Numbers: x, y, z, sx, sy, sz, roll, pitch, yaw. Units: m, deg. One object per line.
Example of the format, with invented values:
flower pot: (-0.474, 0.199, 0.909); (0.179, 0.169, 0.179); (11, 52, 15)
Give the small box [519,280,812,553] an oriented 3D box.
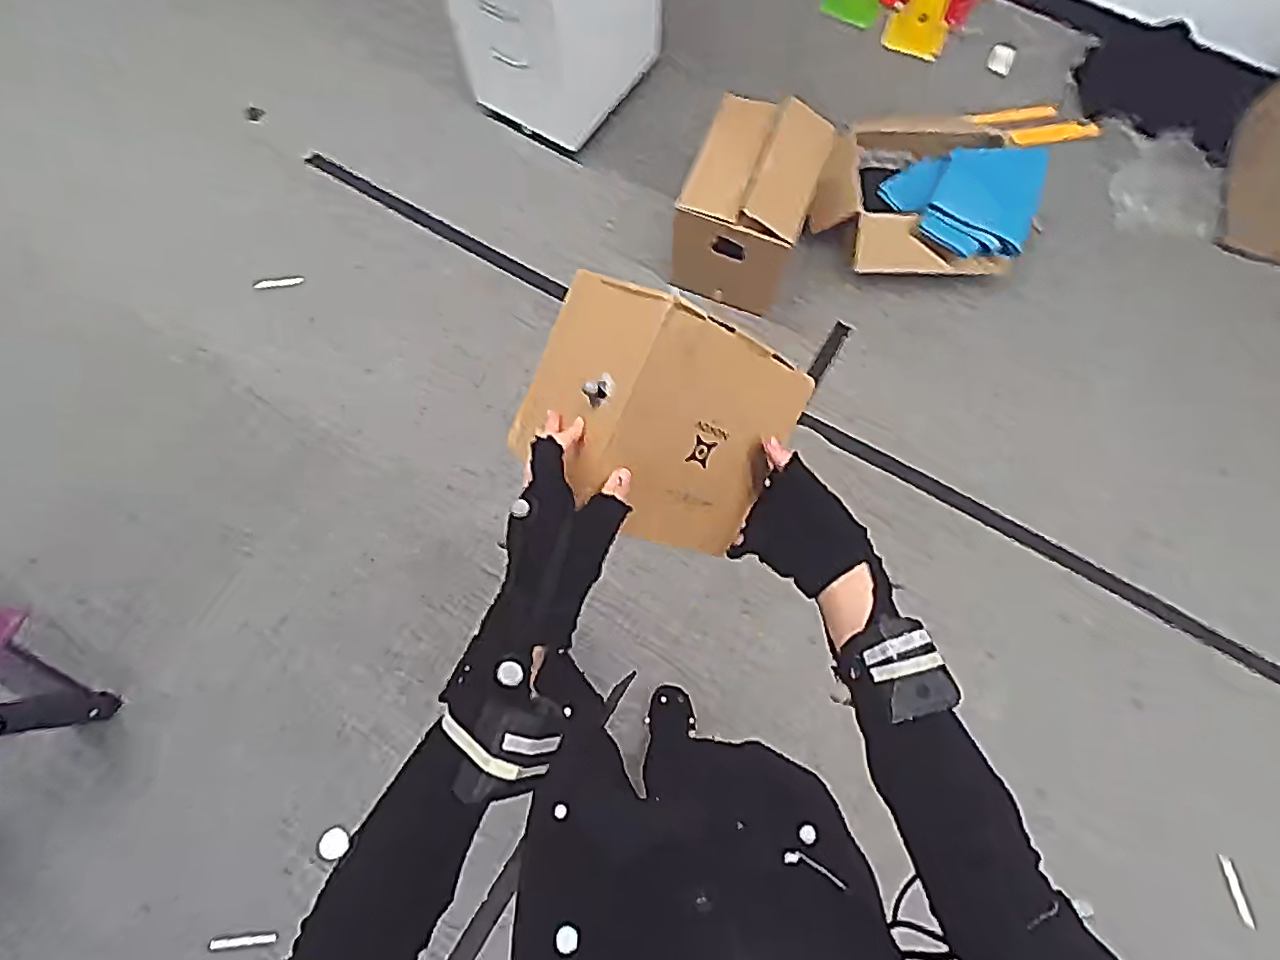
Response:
small box: (0.010, -0.061, 0.487); (0.168, 0.176, 0.179); (17, 104, -36)
